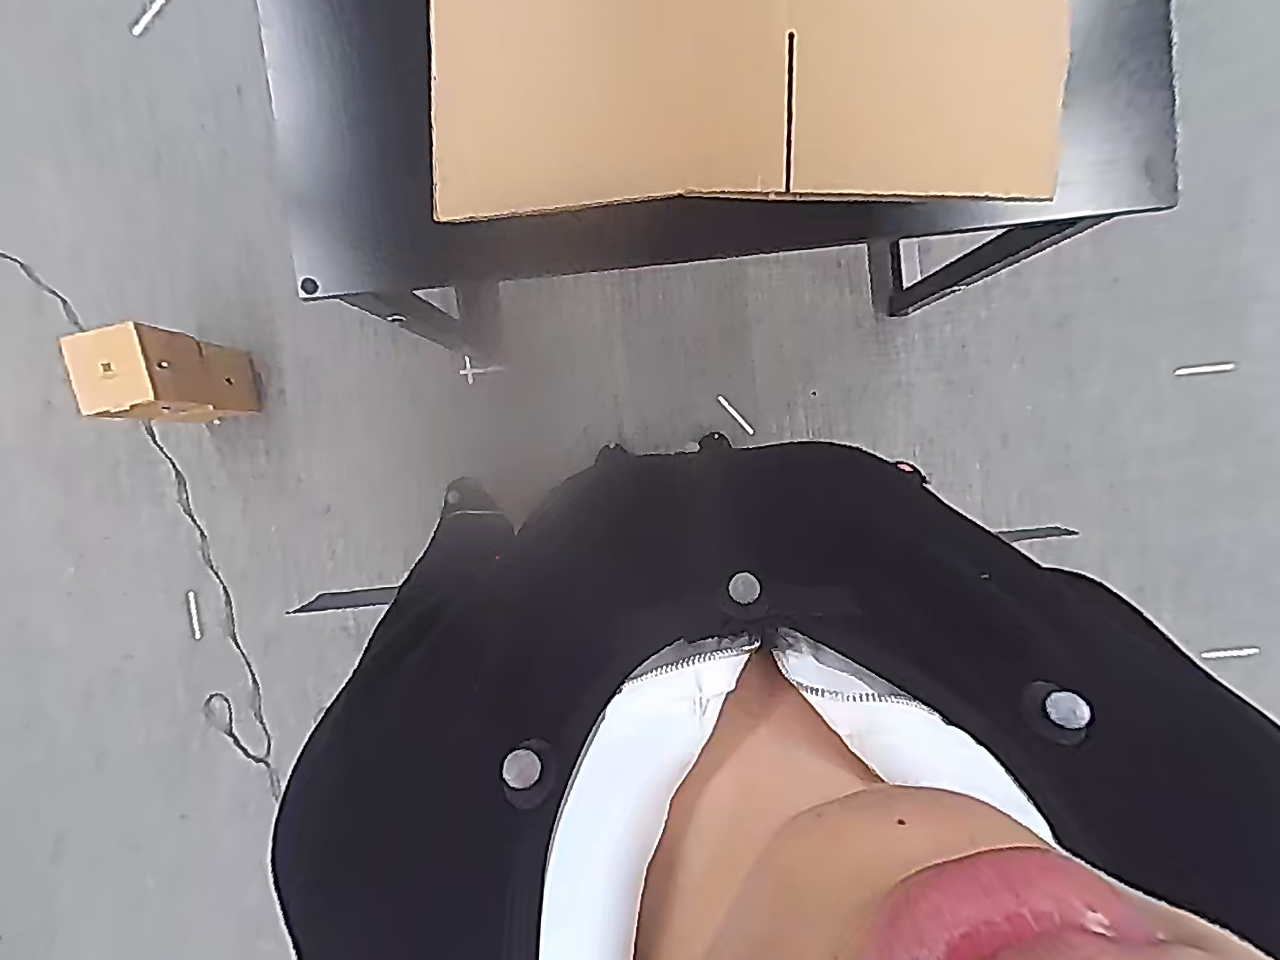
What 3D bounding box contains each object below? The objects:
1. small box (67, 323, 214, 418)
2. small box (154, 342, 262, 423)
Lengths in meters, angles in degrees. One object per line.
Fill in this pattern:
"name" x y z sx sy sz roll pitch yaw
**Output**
"small box" -1.137 -0.242 1.246 0.168 0.176 0.179 -13 93 0
"small box" -1.133 -0.248 1.409 0.168 0.176 0.179 -9 95 1
